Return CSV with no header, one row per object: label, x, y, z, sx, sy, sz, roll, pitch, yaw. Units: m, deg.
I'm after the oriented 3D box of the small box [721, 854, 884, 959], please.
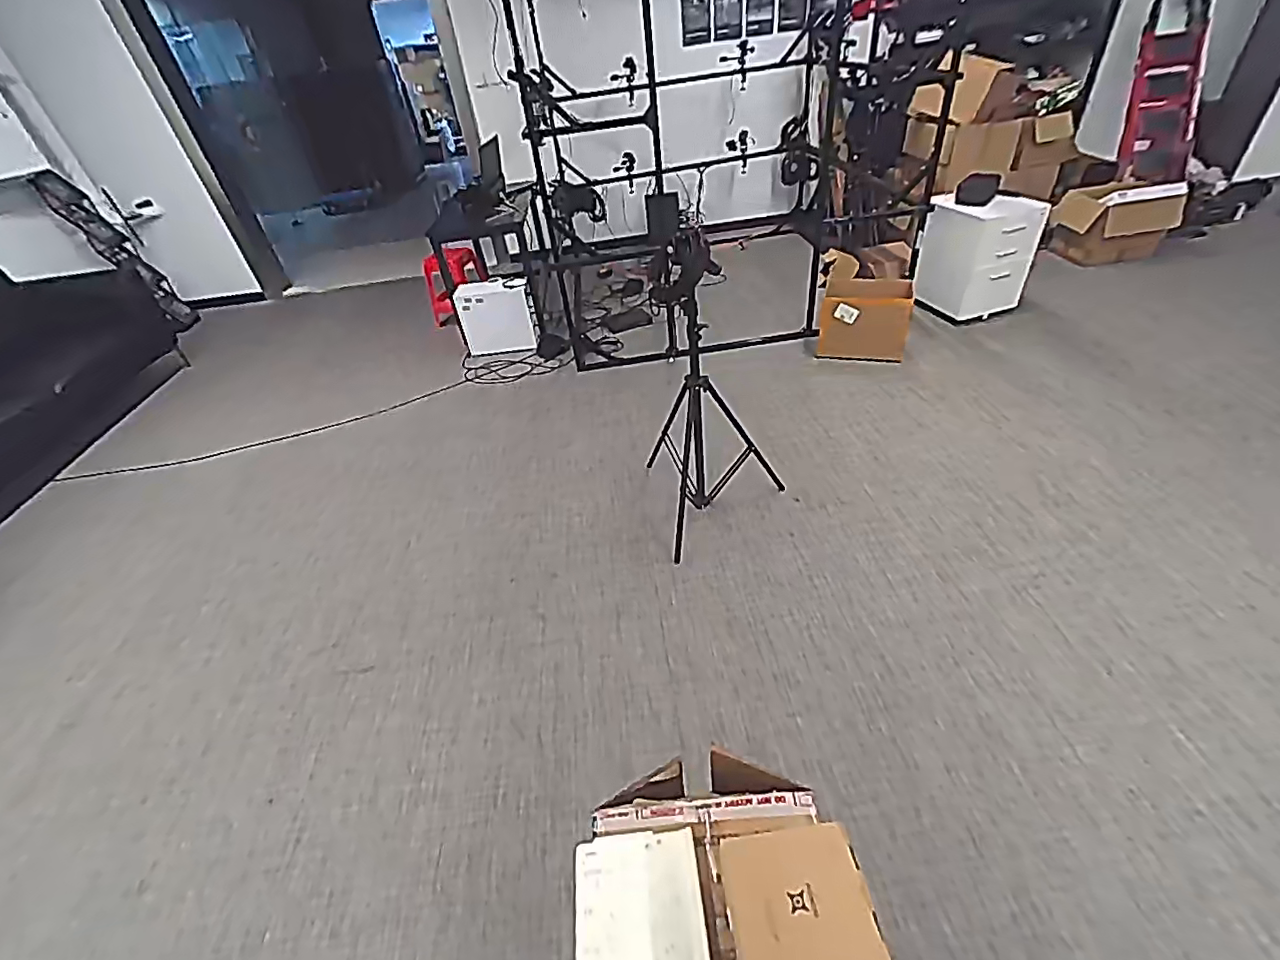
small box,0.213,0.634,0.729,0.179,0.176,0.168,-8,40,-2
